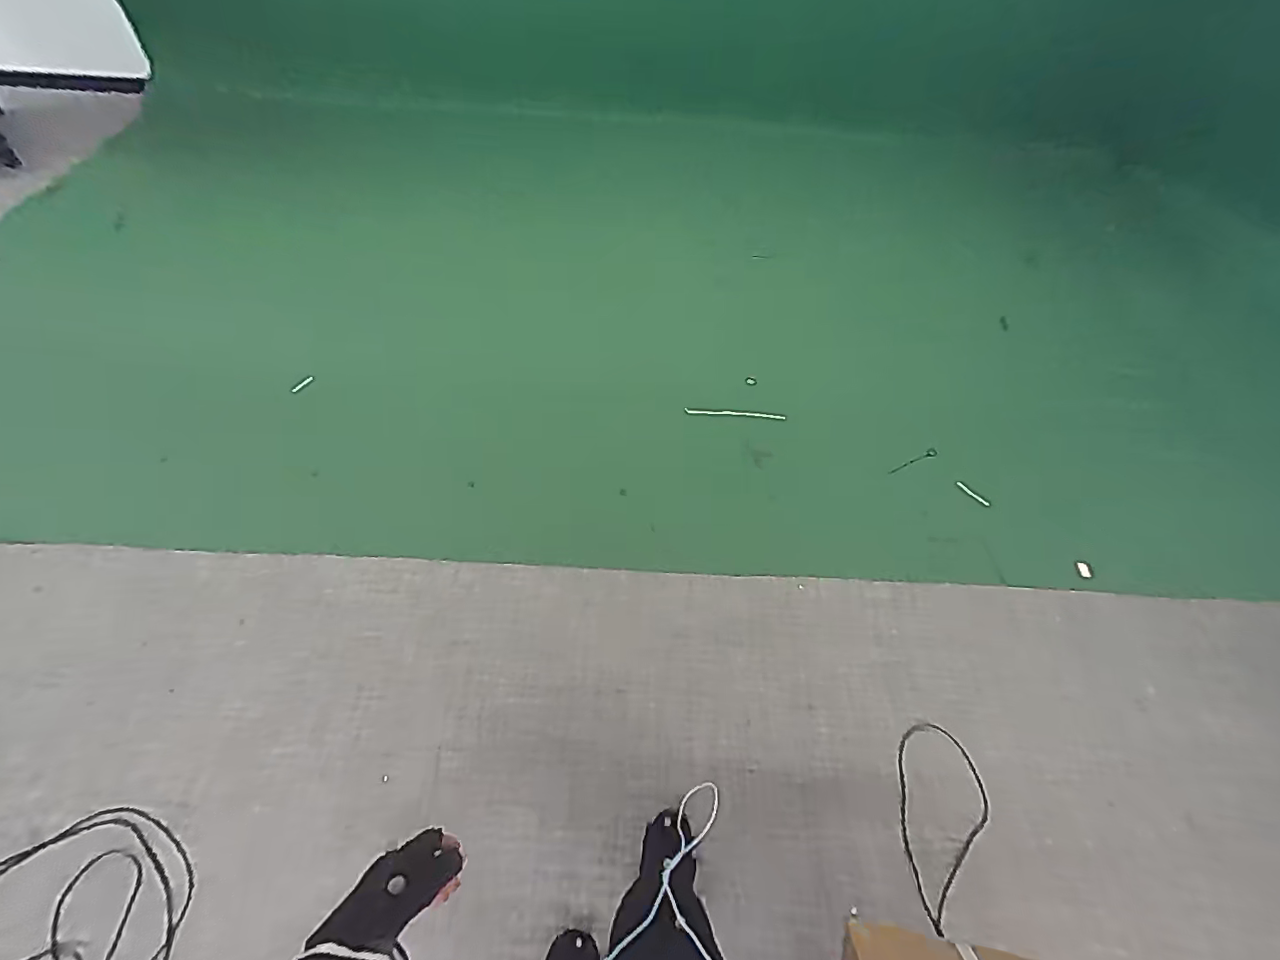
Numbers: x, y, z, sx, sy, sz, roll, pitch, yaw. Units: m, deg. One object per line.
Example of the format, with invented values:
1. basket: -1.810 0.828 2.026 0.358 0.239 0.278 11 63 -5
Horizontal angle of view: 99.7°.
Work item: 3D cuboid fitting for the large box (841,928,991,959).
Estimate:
1. large box: 0.402 0.814 0.572 0.320 0.408 0.320 9 87 9
